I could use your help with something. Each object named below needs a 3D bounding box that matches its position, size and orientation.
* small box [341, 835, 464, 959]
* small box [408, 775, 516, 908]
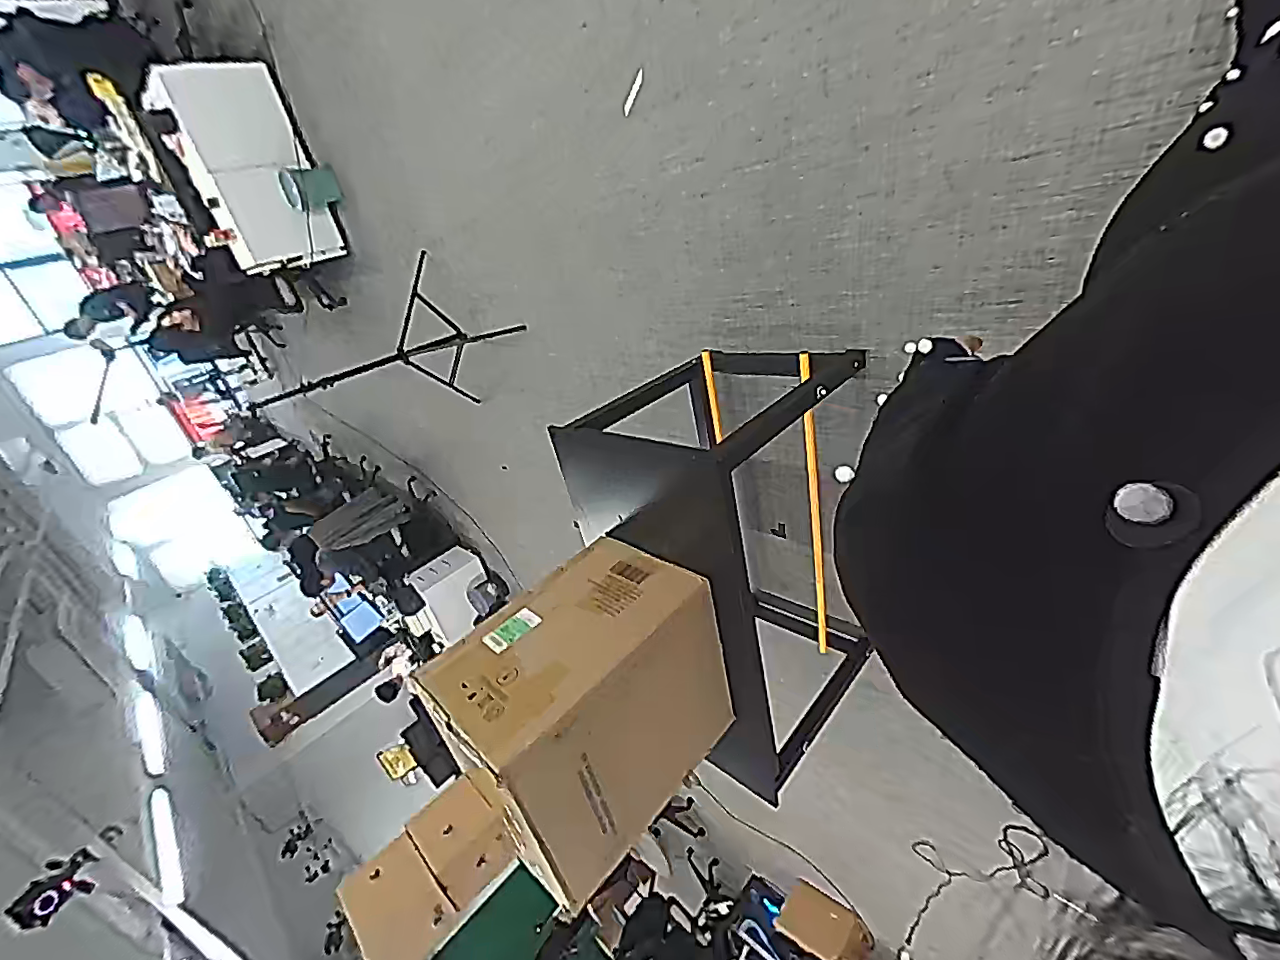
[{"bbox_3d":[-0.523,0.938,1.204,0.179,0.176,0.168,18,131,42],"label":"small box"},{"bbox_3d":[-0.420,0.862,1.308,0.179,0.176,0.168,16,128,44],"label":"small box"}]
